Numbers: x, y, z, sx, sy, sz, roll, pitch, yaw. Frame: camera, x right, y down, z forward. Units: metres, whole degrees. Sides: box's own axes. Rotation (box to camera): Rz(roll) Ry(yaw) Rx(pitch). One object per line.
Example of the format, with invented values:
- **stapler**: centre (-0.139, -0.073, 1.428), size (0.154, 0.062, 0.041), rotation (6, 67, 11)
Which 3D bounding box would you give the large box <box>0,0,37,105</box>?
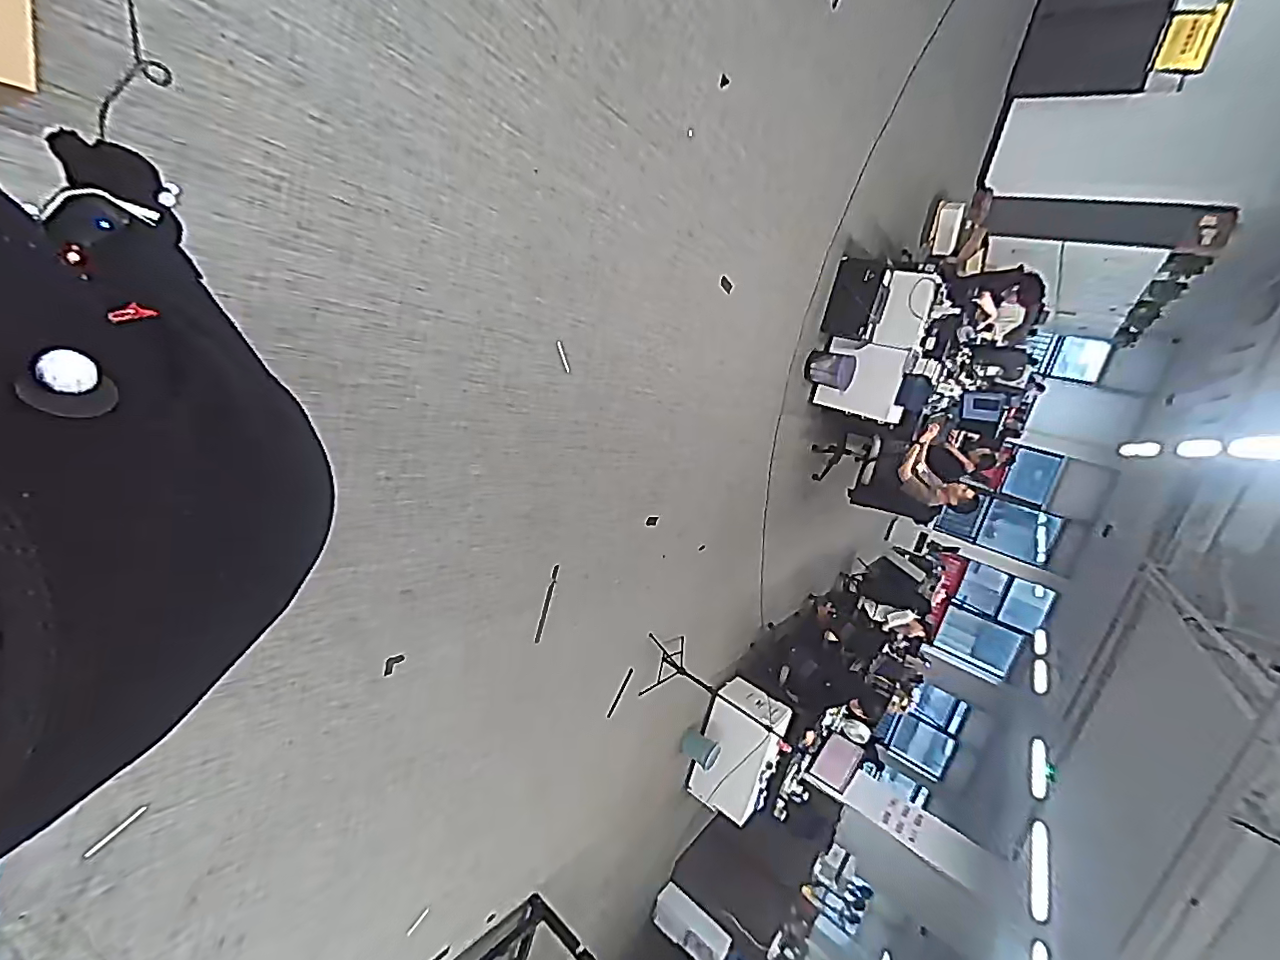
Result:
- **large box**: centre (-1.036, -0.699, 0.625), size (0.408, 0.320, 0.320), rotation (-9, 117, -53)
